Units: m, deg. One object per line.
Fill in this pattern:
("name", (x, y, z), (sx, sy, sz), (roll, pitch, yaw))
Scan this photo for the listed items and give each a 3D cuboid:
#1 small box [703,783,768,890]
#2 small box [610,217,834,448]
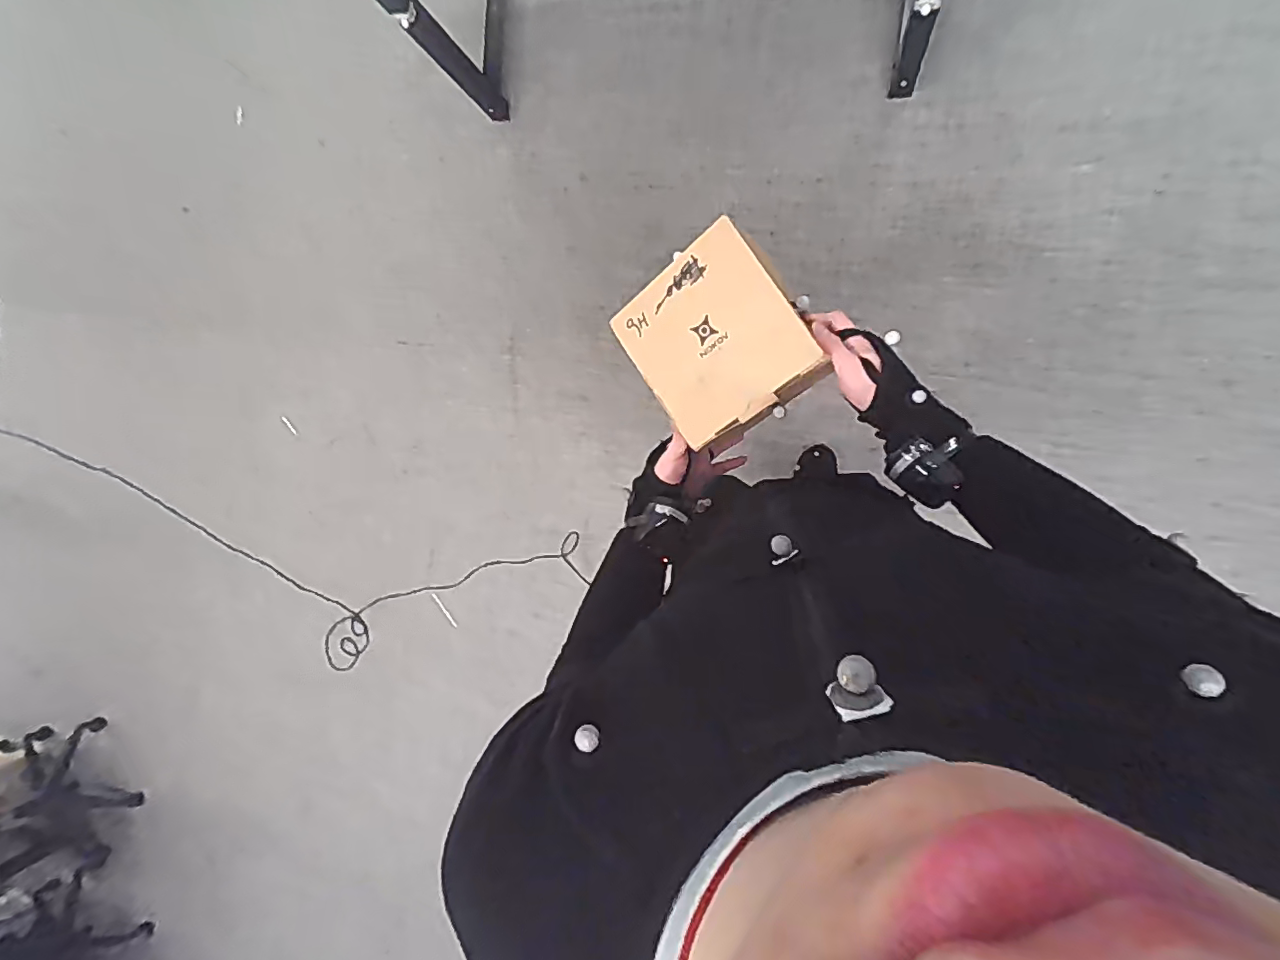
("small box", (0.280, 1.020, 1.561), (0.168, 0.176, 0.179), (3, 95, 15))
("small box", (0.104, -0.162, 0.624), (0.168, 0.176, 0.179), (-36, 84, 27))
